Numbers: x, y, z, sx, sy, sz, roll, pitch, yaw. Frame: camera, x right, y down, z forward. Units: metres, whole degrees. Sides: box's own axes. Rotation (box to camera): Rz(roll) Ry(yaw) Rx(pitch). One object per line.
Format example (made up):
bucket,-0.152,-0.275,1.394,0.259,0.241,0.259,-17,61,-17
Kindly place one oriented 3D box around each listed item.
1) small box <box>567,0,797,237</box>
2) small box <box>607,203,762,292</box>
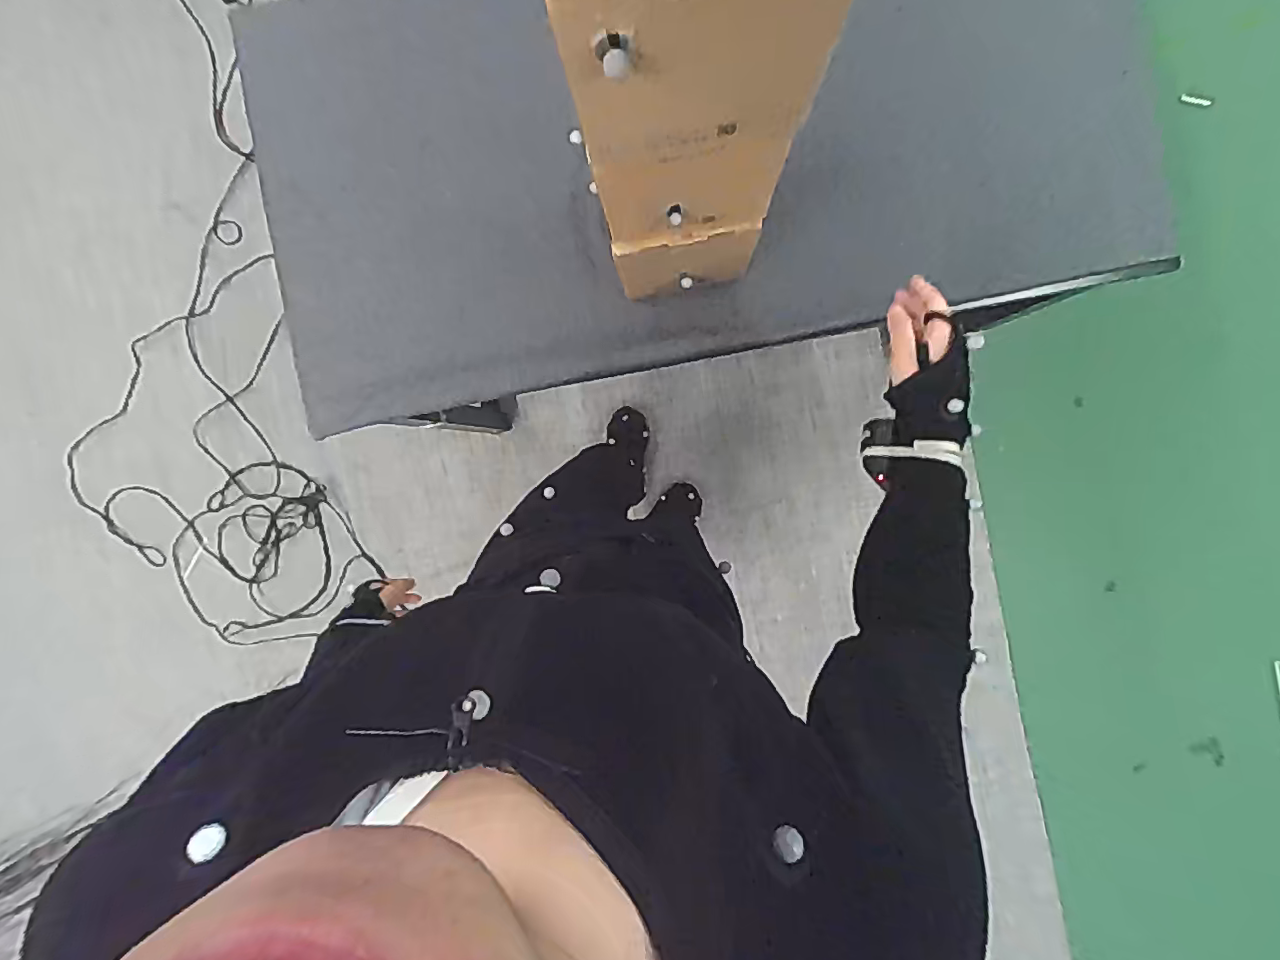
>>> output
small box,0.031,-0.352,0.490,0.168,0.176,0.179,-9,92,3
small box,0.041,-0.350,0.652,0.168,0.176,0.179,-10,92,5
